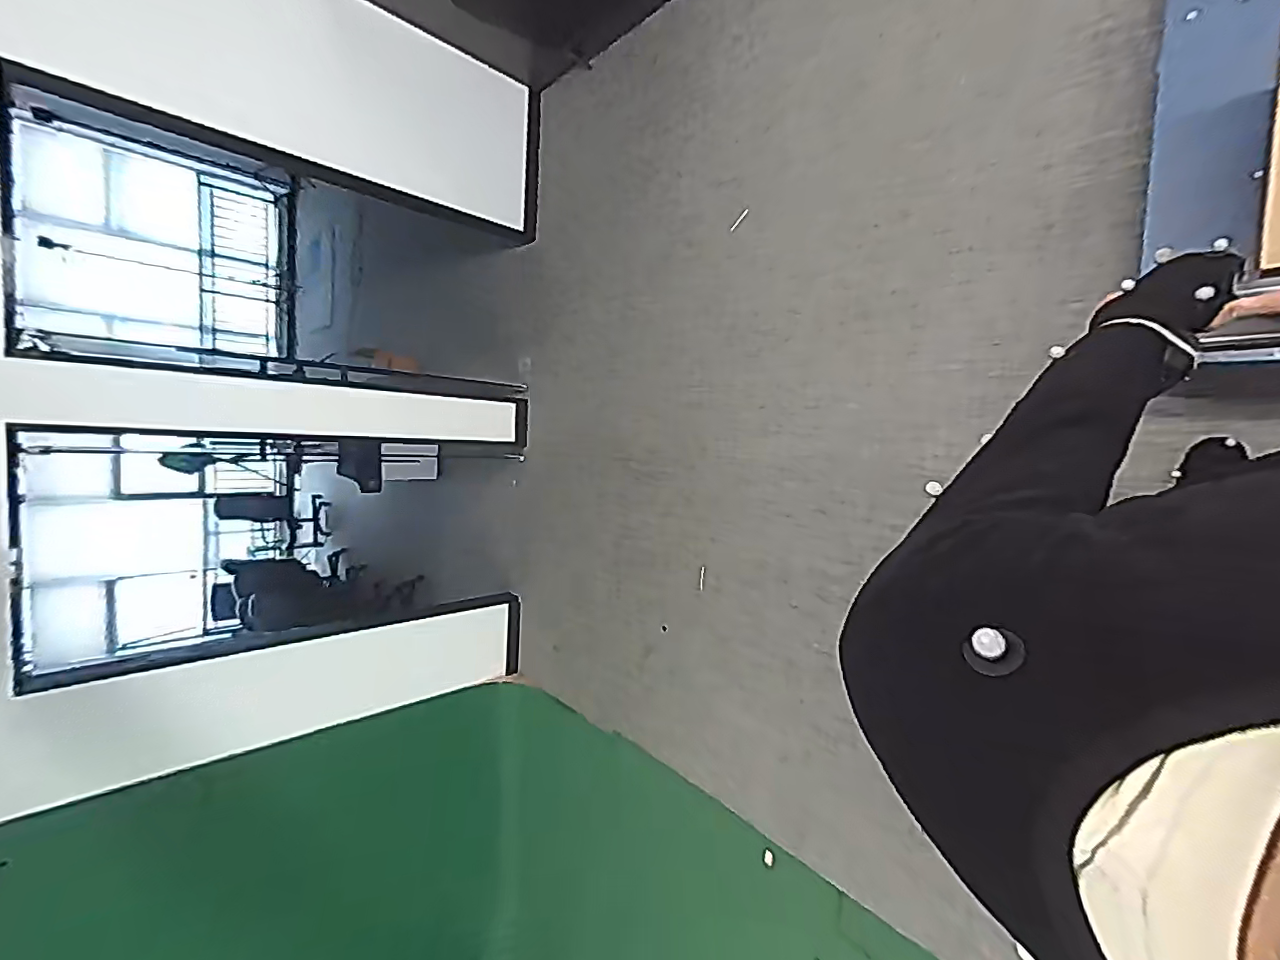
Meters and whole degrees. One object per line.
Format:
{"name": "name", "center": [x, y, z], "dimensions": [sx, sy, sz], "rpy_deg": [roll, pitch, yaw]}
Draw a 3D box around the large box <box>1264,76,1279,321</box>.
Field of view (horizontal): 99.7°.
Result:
{"name": "large box", "center": [1.128, -0.477, 0.761], "dimensions": [0.320, 0.320, 0.408], "rpy_deg": [6, 93, 47]}
